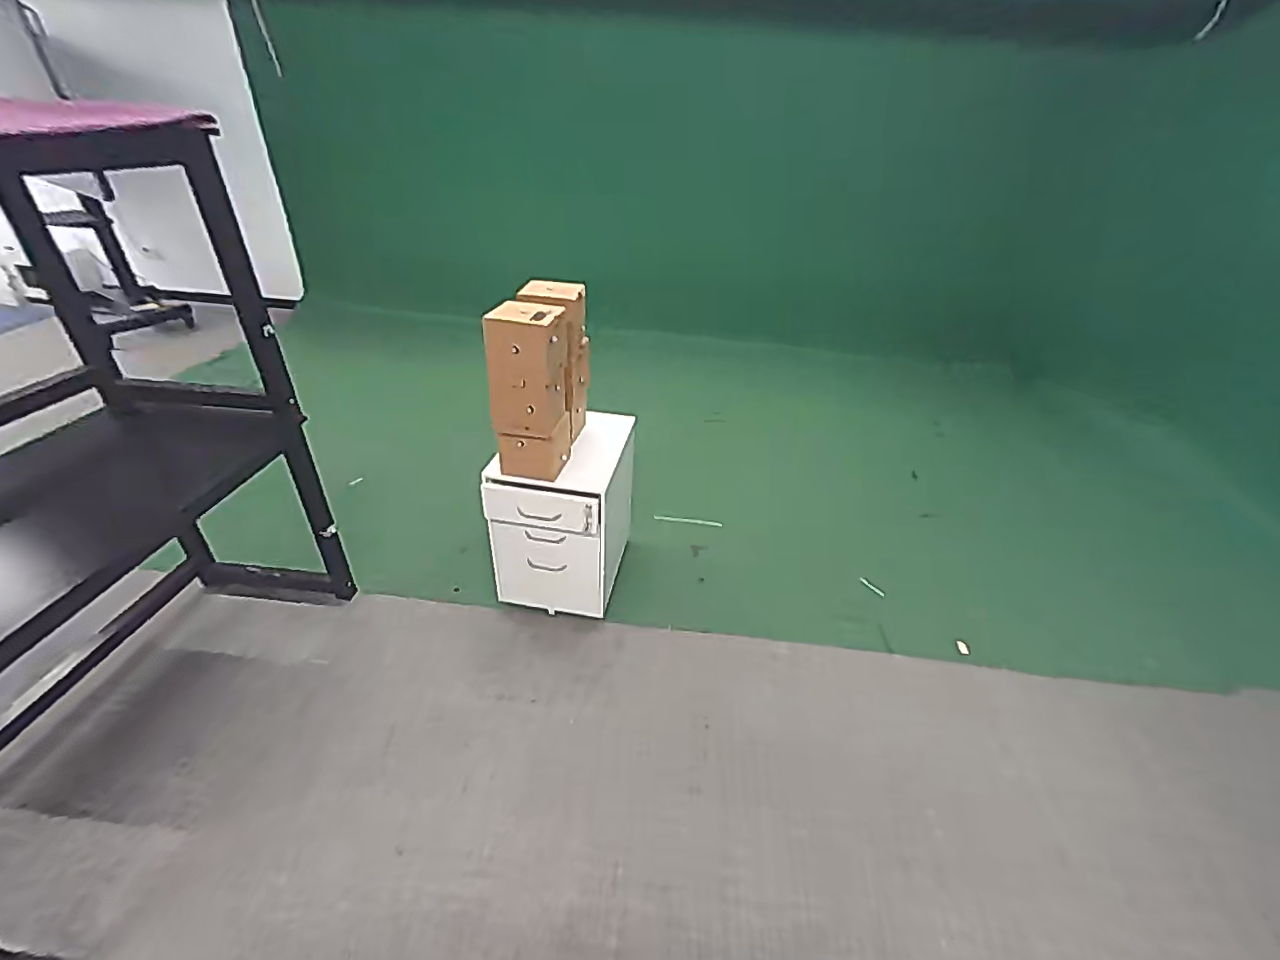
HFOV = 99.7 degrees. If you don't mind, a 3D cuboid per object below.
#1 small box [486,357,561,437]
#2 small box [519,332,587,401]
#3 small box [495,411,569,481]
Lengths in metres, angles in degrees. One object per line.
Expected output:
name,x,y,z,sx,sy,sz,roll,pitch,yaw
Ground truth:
small box,-0.329,-0.239,1.567,0.168,0.176,0.179,9,33,6
small box,-0.282,-0.373,1.775,0.179,0.176,0.168,11,34,9
small box,-0.328,-0.113,1.670,0.179,0.176,0.168,10,34,9
